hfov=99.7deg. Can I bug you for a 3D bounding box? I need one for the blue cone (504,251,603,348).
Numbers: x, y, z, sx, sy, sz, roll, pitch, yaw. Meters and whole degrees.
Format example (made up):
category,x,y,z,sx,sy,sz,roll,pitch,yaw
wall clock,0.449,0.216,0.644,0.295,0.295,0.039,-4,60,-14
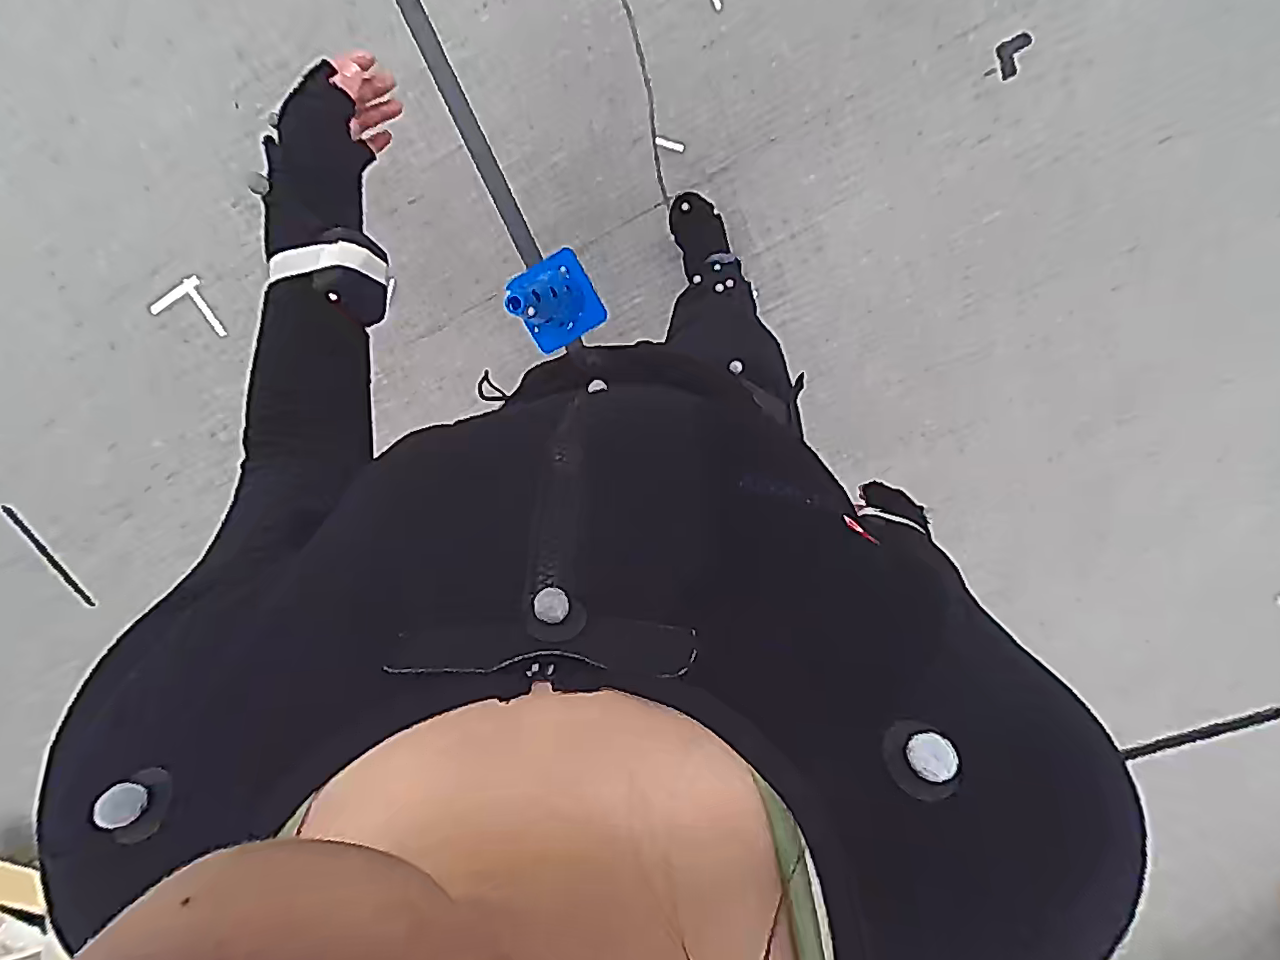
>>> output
category,x,y,z,sx,sy,sz,roll,pitch,yaw
blue cone,-0.226,-0.390,1.182,0.192,0.380,0.193,-28,103,13
